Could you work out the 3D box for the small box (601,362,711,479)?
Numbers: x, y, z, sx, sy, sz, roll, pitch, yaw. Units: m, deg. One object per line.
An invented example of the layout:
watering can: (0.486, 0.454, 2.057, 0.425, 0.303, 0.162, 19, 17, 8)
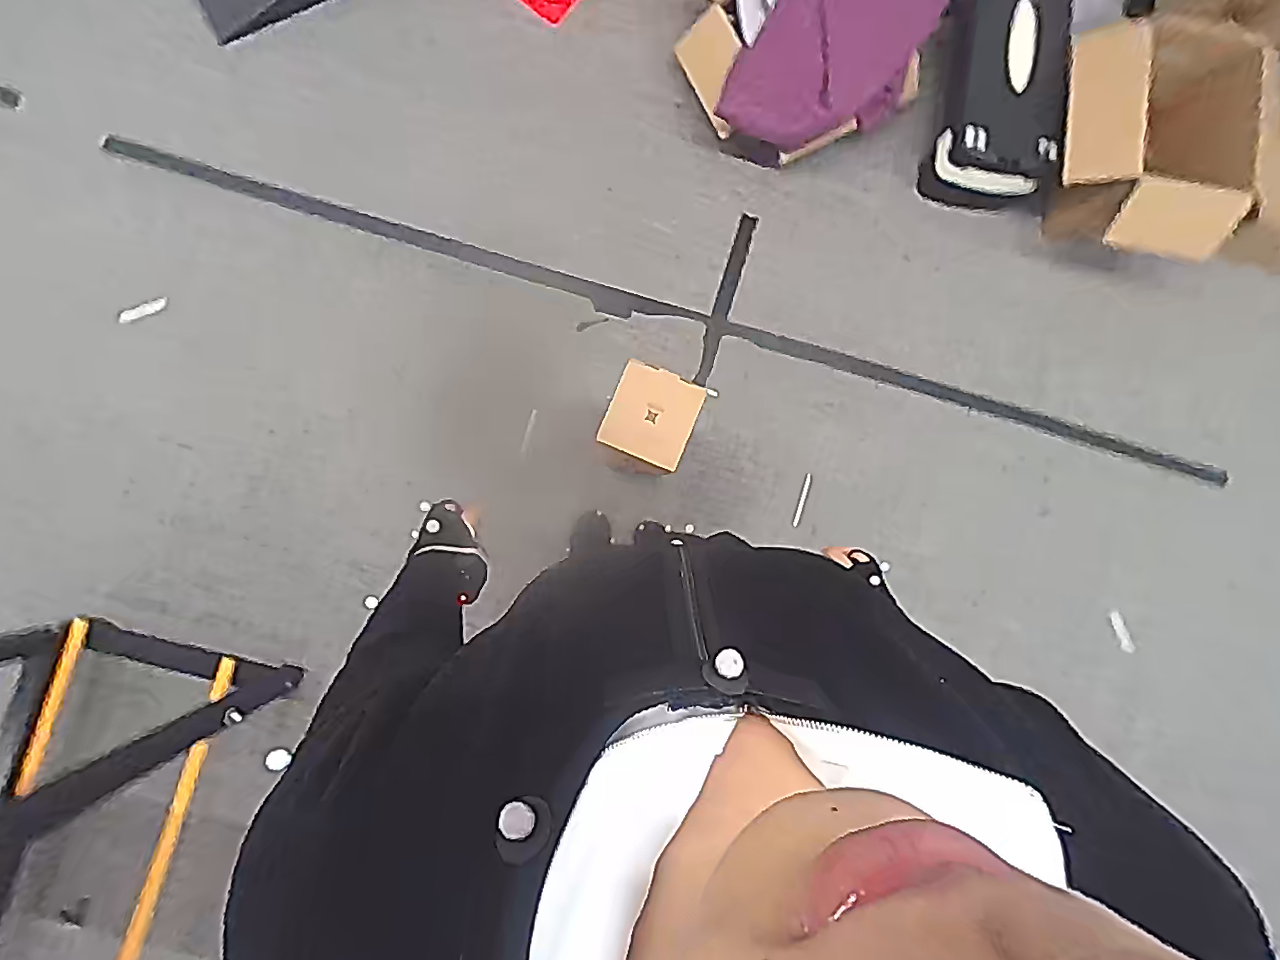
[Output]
small box: (0.026, -0.113, 1.106, 0.168, 0.176, 0.179, 23, 87, -1)
